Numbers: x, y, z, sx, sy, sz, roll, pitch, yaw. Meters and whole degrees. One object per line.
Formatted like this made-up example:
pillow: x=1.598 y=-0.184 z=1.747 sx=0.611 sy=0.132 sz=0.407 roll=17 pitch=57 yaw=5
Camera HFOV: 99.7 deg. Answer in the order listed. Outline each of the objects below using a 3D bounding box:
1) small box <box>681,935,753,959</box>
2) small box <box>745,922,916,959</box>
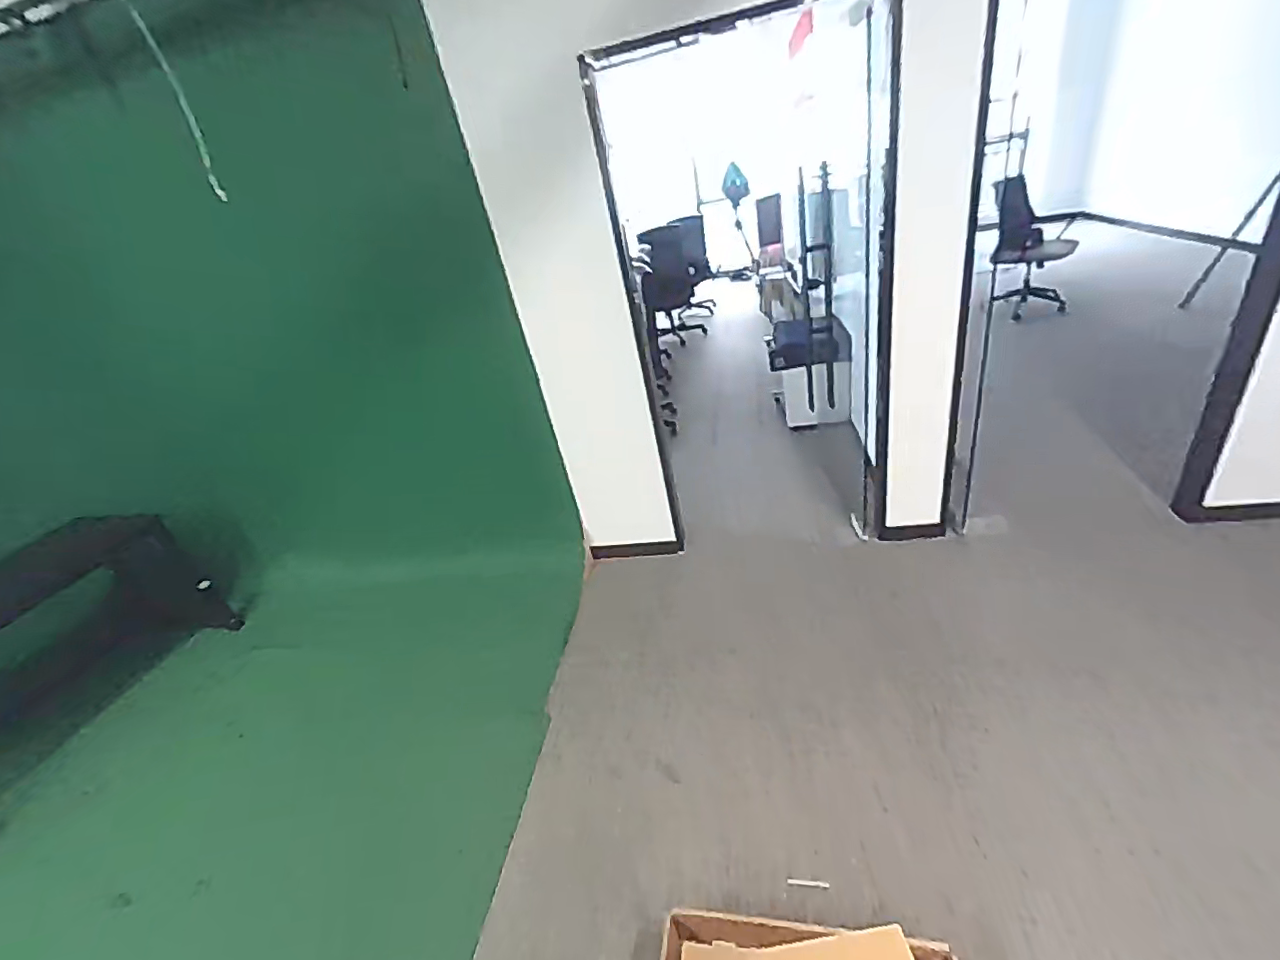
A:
small box: x=0.162 y=1.009 z=1.018 sx=0.168 sy=0.176 sz=0.179 roll=-4 pitch=30 yaw=13
small box: x=0.200 y=0.569 z=0.506 sx=0.168 sy=0.176 sz=0.179 roll=-10 pitch=28 yaw=0
